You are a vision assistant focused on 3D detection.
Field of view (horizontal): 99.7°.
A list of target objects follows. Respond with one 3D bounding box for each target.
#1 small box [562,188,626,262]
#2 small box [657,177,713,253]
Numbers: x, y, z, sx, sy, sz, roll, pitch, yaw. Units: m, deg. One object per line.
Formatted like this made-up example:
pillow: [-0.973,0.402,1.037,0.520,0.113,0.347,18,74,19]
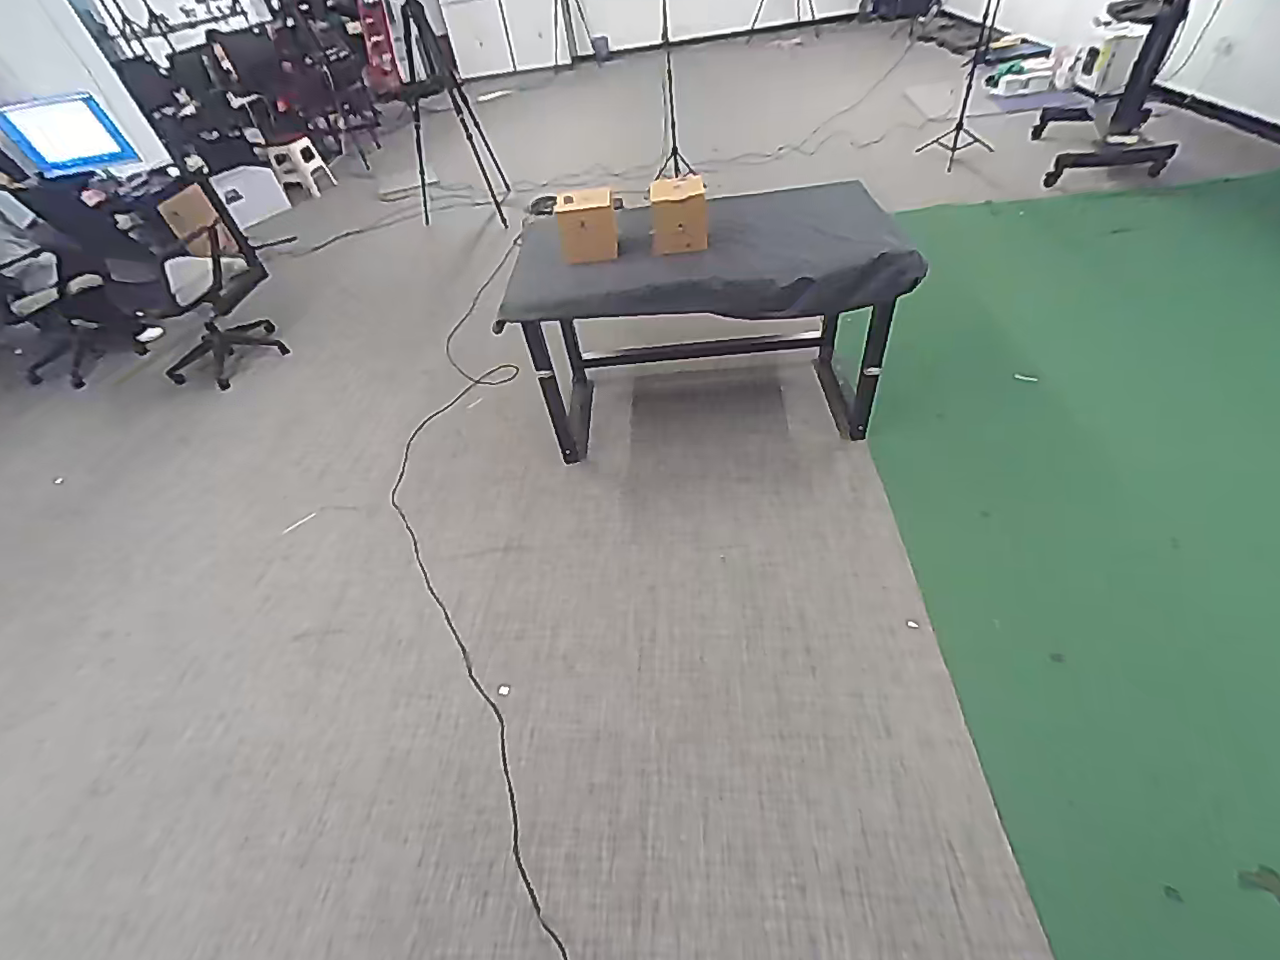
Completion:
small box: [-0.145,-0.824,1.757,0.179,0.176,0.168,-4,46,4]
small box: [0.146,-0.840,1.726,0.168,0.176,0.179,-4,46,6]
